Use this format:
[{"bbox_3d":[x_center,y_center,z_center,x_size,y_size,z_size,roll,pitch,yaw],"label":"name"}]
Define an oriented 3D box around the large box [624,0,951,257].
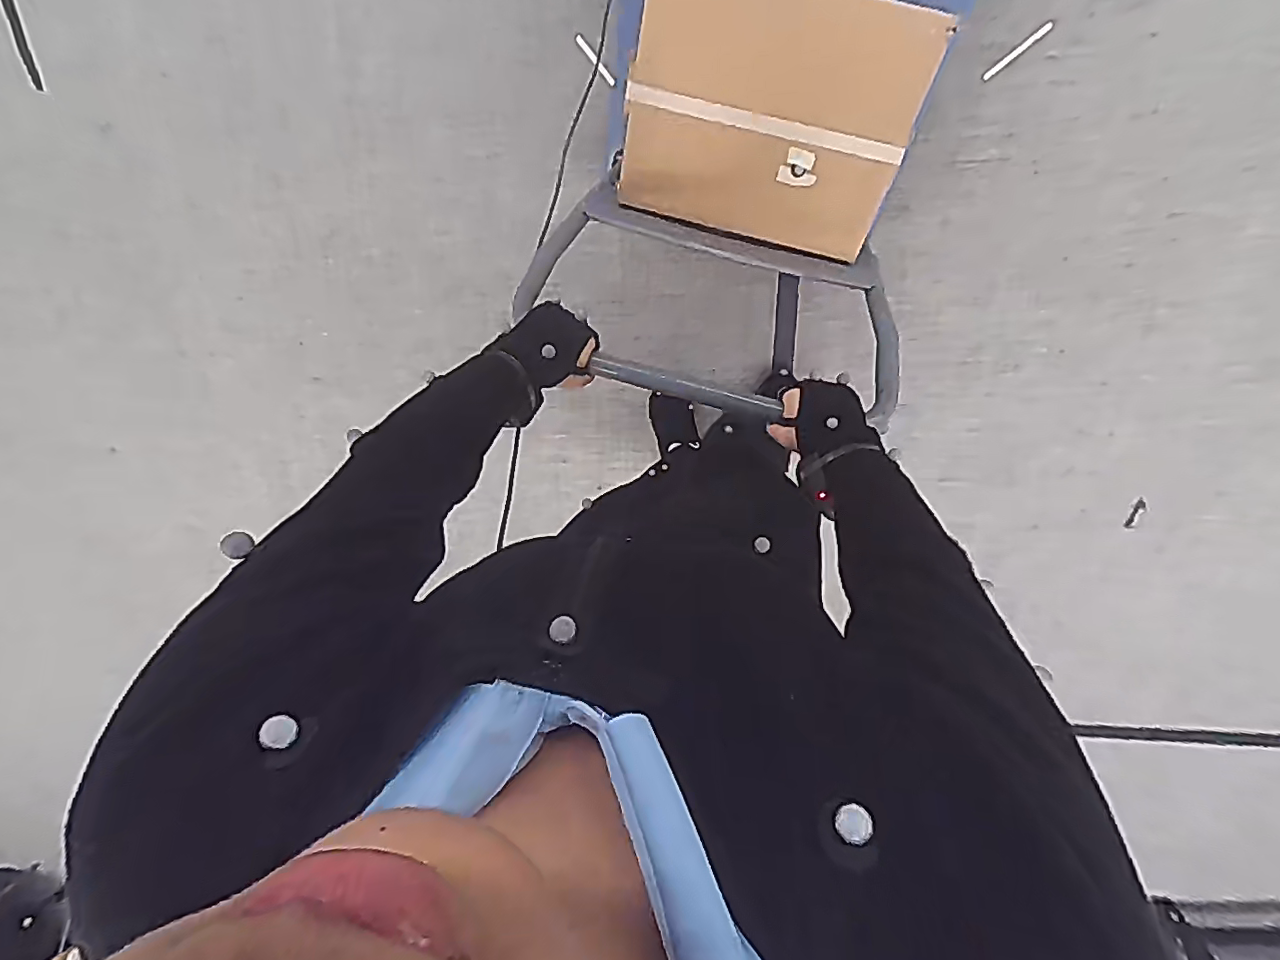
[{"bbox_3d":[0.213,-0.619,0.915,0.408,0.320,0.320,14,131,1],"label":"large box"}]
